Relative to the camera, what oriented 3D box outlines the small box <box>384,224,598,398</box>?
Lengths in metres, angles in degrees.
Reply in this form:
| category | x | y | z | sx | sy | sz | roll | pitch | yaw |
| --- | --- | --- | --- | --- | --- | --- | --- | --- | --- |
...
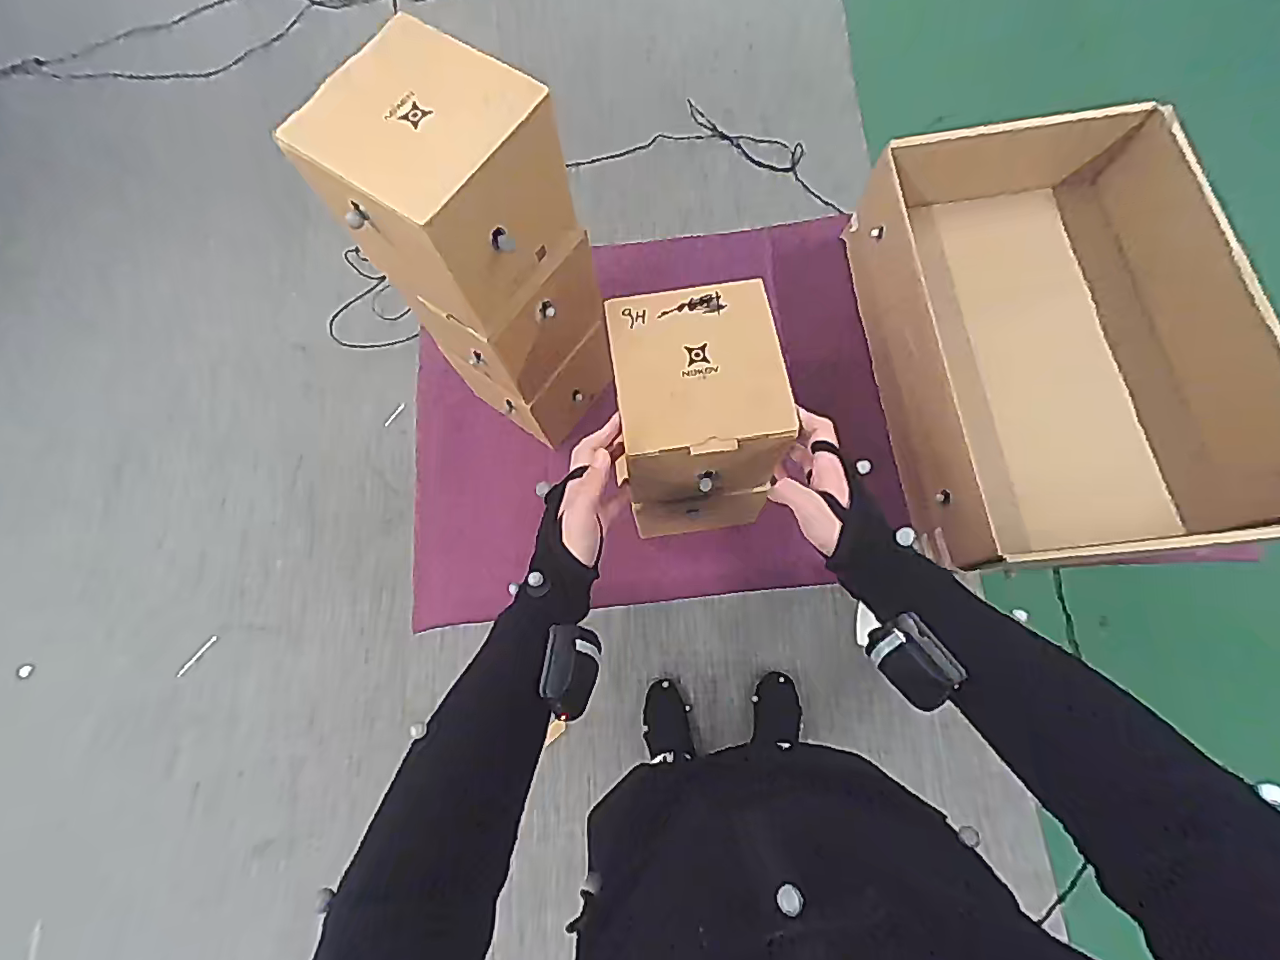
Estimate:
| category | x | y | z | sx | sy | sz | roll | pitch | yaw |
| --- | --- | --- | --- | --- | --- | --- | --- | --- | --- |
| small box | -0.169 | -0.234 | 0.680 | 0.168 | 0.176 | 0.179 | 36 | 78 | 12 |

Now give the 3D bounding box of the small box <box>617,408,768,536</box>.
| category | x | y | z | sx | sy | sz | roll | pitch | yaw |
| --- | --- | --- | --- | --- | --- | --- | --- | --- | --- |
| small box | 0.070 | -0.024 | 0.769 | 0.179 | 0.176 | 0.168 | -8 | 72 | 1 |

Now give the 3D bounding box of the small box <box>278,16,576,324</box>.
| category | x | y | z | sx | sy | sz | roll | pitch | yaw |
| --- | --- | --- | --- | --- | --- | --- | --- | --- | --- |
| small box | -0.183 | -0.281 | 0.526 | 0.179 | 0.176 | 0.168 | 34 | 79 | 12 |

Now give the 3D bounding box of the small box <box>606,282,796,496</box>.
| category | x | y | z | sx | sy | sz | roll | pitch | yaw |
| --- | --- | --- | --- | --- | --- | --- | --- | --- | --- |
| small box | 0.058 | -0.086 | 0.602 | 0.168 | 0.176 | 0.179 | -8 | 73 | -1 |

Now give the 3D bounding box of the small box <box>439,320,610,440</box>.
| category | x | y | z | sx | sy | sz | roll | pitch | yaw |
| --- | --- | --- | --- | --- | --- | --- | --- | --- | --- |
| small box | -0.164 | -0.182 | 0.835 | 0.179 | 0.176 | 0.168 | 35 | 78 | 13 |
